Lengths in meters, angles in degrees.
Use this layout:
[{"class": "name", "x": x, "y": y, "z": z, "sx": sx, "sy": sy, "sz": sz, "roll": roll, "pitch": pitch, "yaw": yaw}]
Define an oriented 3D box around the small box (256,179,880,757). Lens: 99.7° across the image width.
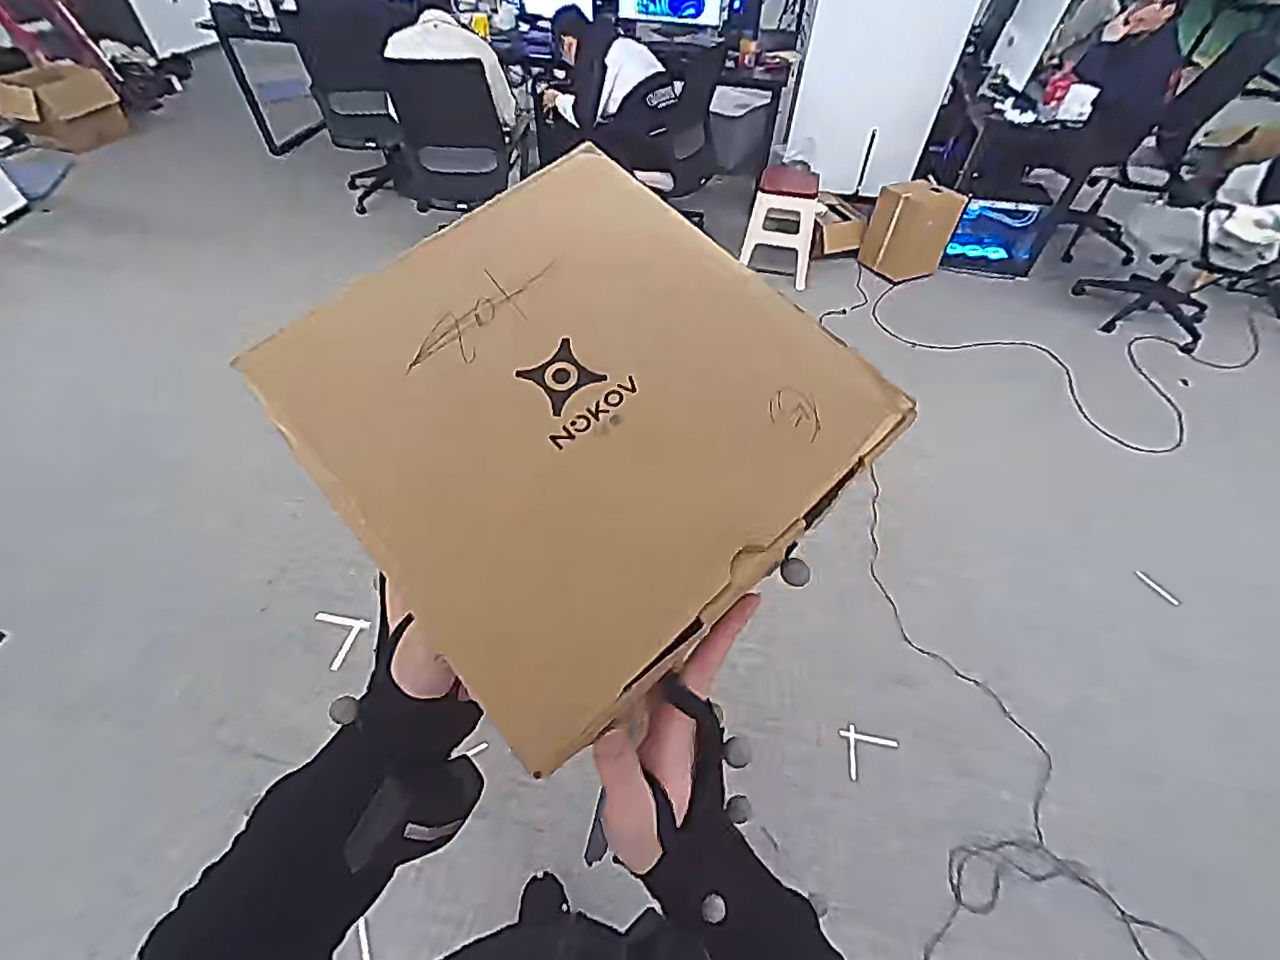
[{"class": "small box", "x": -0.028, "y": 0.003, "z": 0.272, "sx": 0.168, "sy": 0.176, "sz": 0.179, "roll": -40, "pitch": 72, "yaw": -16}]
